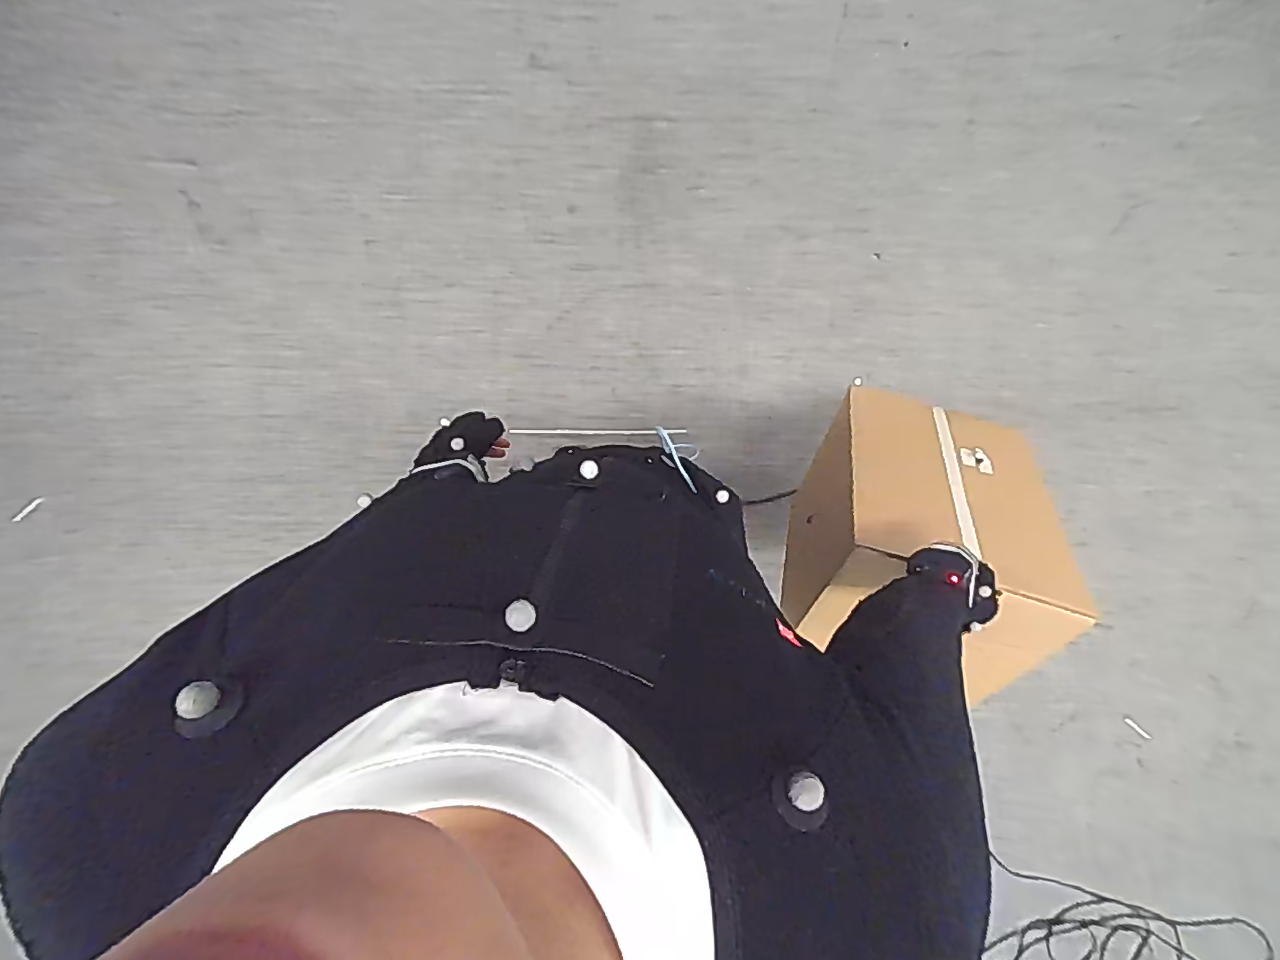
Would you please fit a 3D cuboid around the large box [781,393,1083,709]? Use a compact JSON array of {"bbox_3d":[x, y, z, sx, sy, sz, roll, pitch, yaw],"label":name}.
[{"bbox_3d":[0.452,0.113,0.950,0.320,0.408,0.320,18,133,4],"label":"large box"}]
